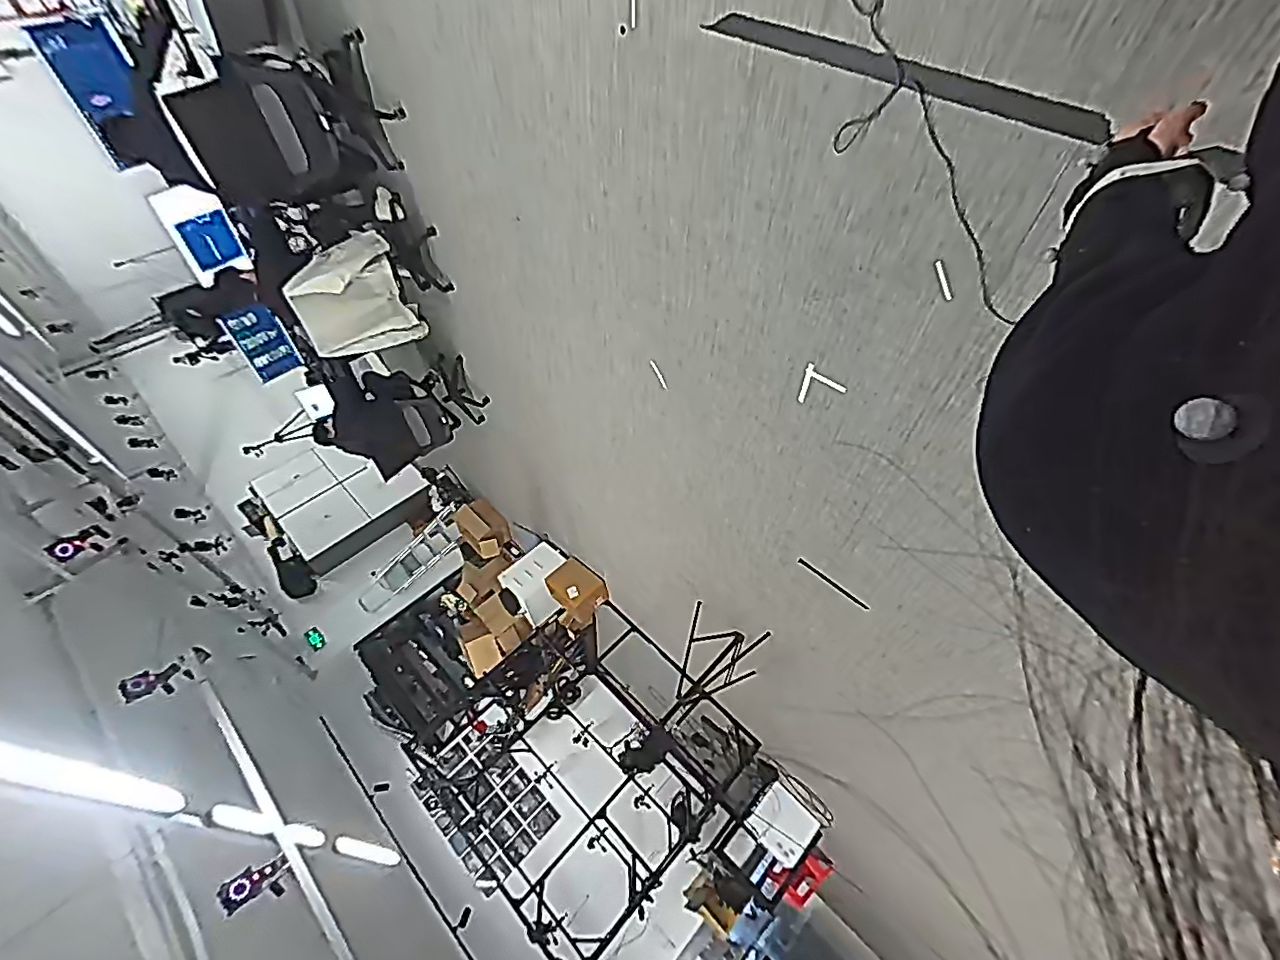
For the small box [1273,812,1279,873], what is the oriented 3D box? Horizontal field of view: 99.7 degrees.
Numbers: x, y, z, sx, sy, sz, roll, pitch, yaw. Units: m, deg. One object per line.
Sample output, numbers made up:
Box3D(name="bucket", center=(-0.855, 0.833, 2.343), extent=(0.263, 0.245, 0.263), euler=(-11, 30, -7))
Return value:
Box3D(name="small box", center=(1.852, 0.989, 1.460), extent=(0.168, 0.176, 0.179), euler=(8, 131, 55))
